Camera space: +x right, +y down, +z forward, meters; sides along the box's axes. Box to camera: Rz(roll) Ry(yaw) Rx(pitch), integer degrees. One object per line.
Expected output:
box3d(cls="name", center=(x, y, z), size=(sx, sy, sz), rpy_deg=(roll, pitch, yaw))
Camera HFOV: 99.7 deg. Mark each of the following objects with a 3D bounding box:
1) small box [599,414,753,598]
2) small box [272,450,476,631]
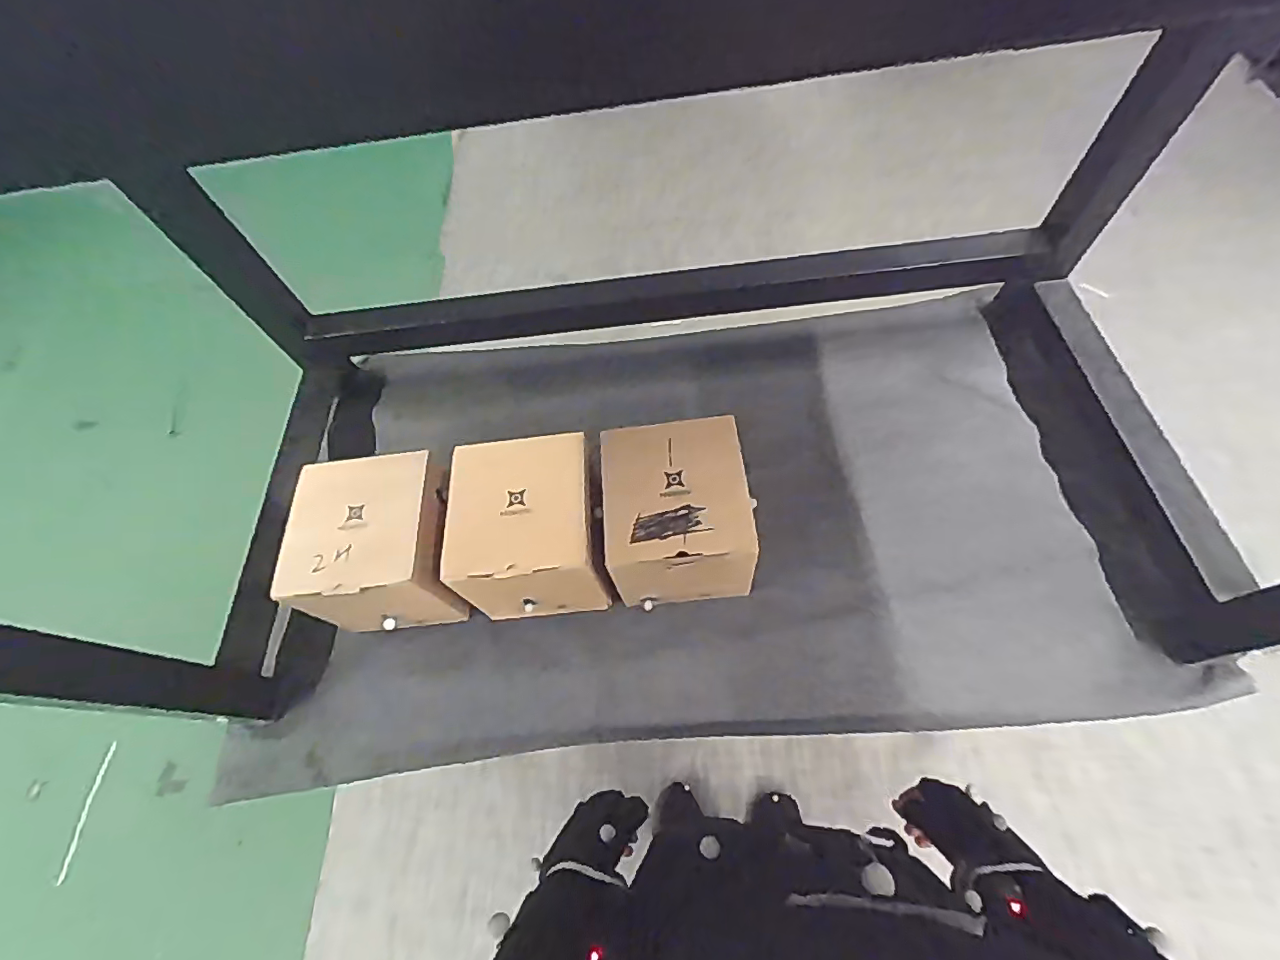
box3d(cls="small box", center=(0.045, 0.043, 0.681), size=(0.168, 0.176, 0.179), rpy_deg=(-7, 60, 4))
box3d(cls="small box", center=(-0.326, 0.084, 0.706), size=(0.168, 0.176, 0.179), rpy_deg=(-7, 61, 4))
